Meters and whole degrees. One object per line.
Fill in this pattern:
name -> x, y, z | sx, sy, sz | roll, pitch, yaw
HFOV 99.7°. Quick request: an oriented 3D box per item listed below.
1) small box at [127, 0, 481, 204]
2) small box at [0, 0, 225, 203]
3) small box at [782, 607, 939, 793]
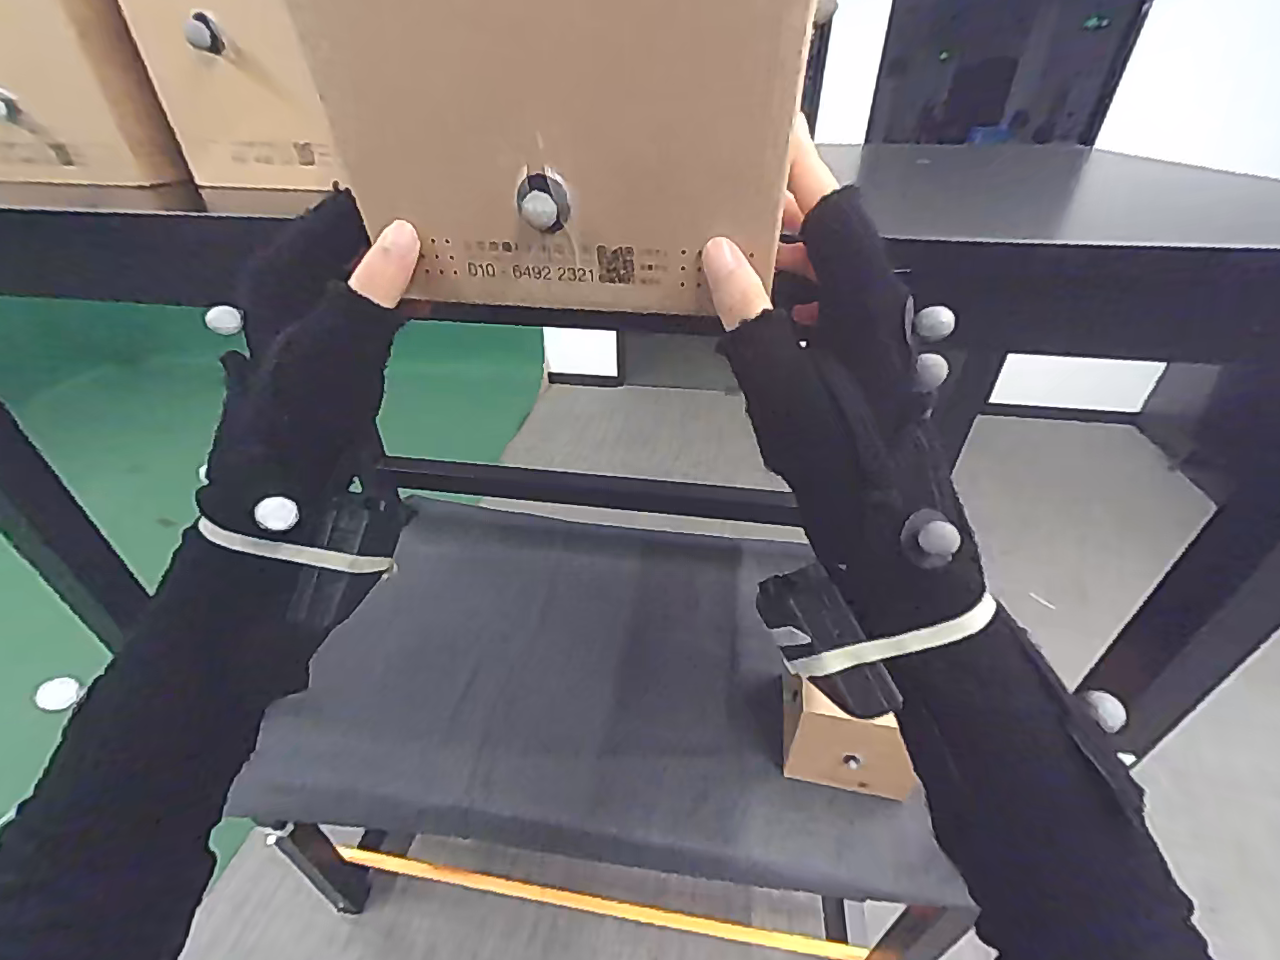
small box -> -0.243, -0.323, 0.428 | 0.168, 0.176, 0.179 | 6, 36, 9
small box -> -0.438, -0.341, 0.449 | 0.168, 0.176, 0.179 | 6, 37, 8
small box -> 0.302, 0.316, 0.779 | 0.168, 0.176, 0.179 | 8, 36, 10
